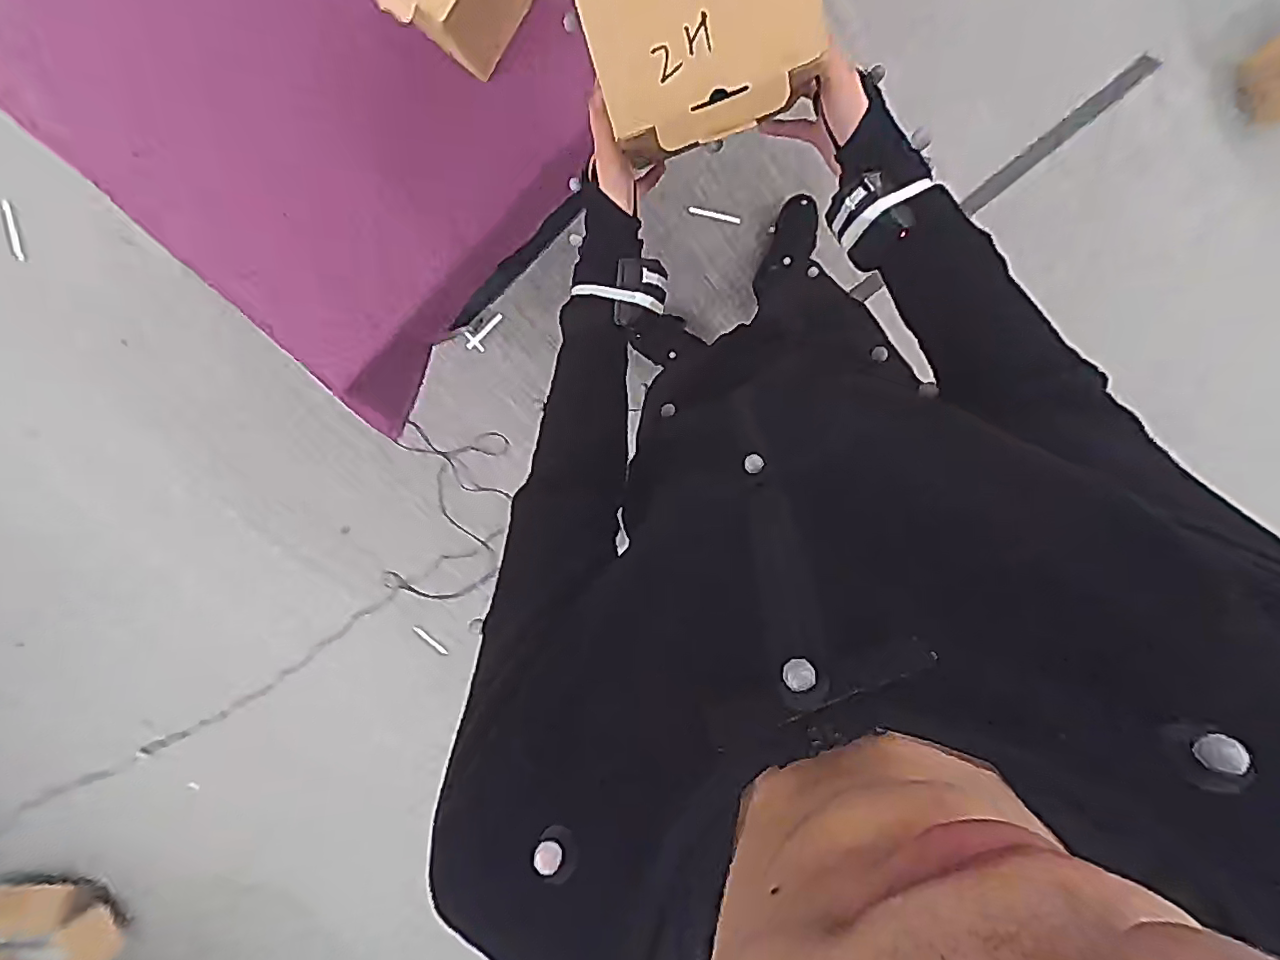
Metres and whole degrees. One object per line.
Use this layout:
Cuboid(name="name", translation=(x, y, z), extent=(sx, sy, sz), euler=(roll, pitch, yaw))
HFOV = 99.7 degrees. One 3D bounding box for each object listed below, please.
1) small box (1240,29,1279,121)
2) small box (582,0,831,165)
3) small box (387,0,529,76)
Cuboid(name="small box", translation=(1.539, -0.963, 1.228), extent=(0.179, 0.176, 0.168), euler=(-36, 107, 12))
Cuboid(name="small box", translation=(0.042, -0.391, 0.447), extent=(0.168, 0.176, 0.179), euler=(-14, 111, 11))
Cuboid(name="small box", translation=(-0.216, -0.597, 0.588), extent=(0.168, 0.176, 0.179), euler=(36, 106, -12))
